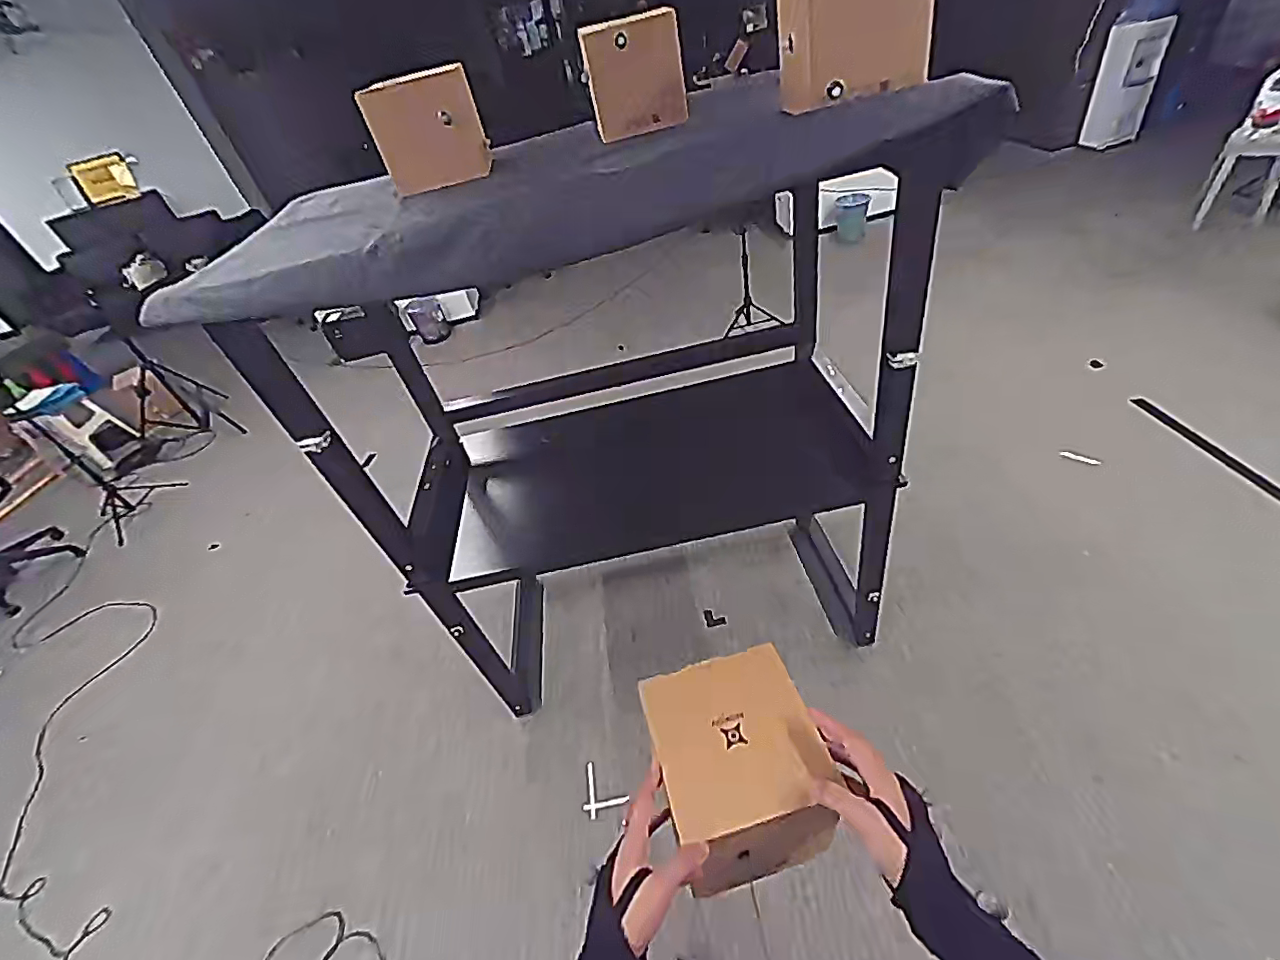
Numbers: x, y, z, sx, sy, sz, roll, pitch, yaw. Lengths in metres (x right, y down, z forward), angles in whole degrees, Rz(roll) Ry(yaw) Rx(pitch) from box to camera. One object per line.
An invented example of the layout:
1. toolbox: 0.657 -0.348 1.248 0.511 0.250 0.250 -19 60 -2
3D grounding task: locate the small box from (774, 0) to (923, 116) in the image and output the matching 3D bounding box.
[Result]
1. small box: 0.306 -0.662 0.806 0.168 0.176 0.179 -12 37 5

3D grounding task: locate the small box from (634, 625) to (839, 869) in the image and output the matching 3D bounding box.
1. small box: 0.101 0.301 0.607 0.168 0.176 0.179 -15 37 -6

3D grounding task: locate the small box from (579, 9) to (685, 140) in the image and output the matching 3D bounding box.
1. small box: -0.017 -0.771 1.035 0.168 0.176 0.179 -13 40 2
